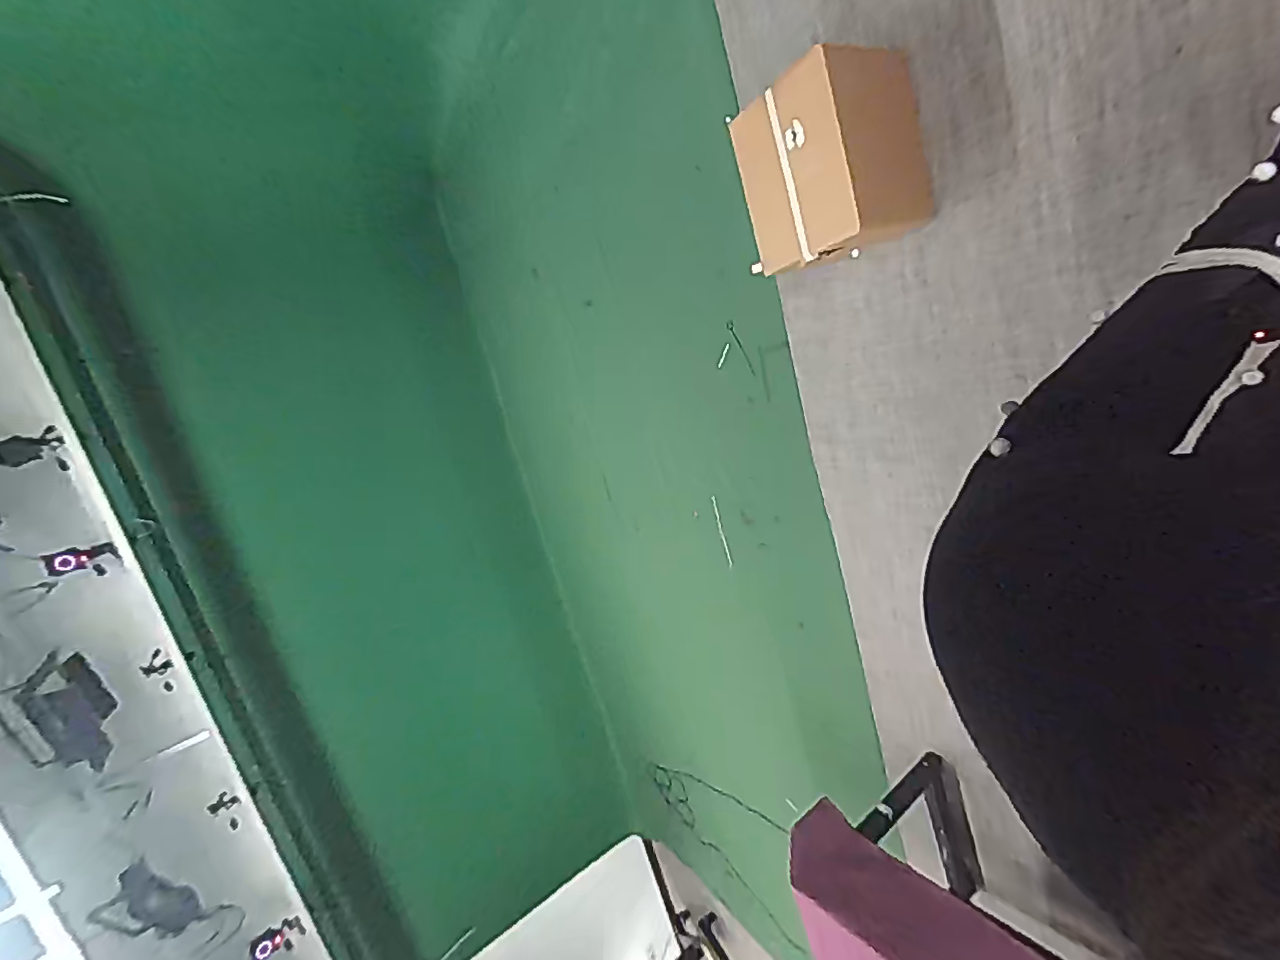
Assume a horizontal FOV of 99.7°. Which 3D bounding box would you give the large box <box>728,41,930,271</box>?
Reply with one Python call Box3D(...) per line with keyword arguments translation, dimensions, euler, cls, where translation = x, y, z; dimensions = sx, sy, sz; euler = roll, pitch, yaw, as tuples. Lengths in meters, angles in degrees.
Box3D(translation=(0.484, -0.805, 1.389), dimensions=(0.320, 0.320, 0.408), euler=(0, 109, 59), cls="large box")
